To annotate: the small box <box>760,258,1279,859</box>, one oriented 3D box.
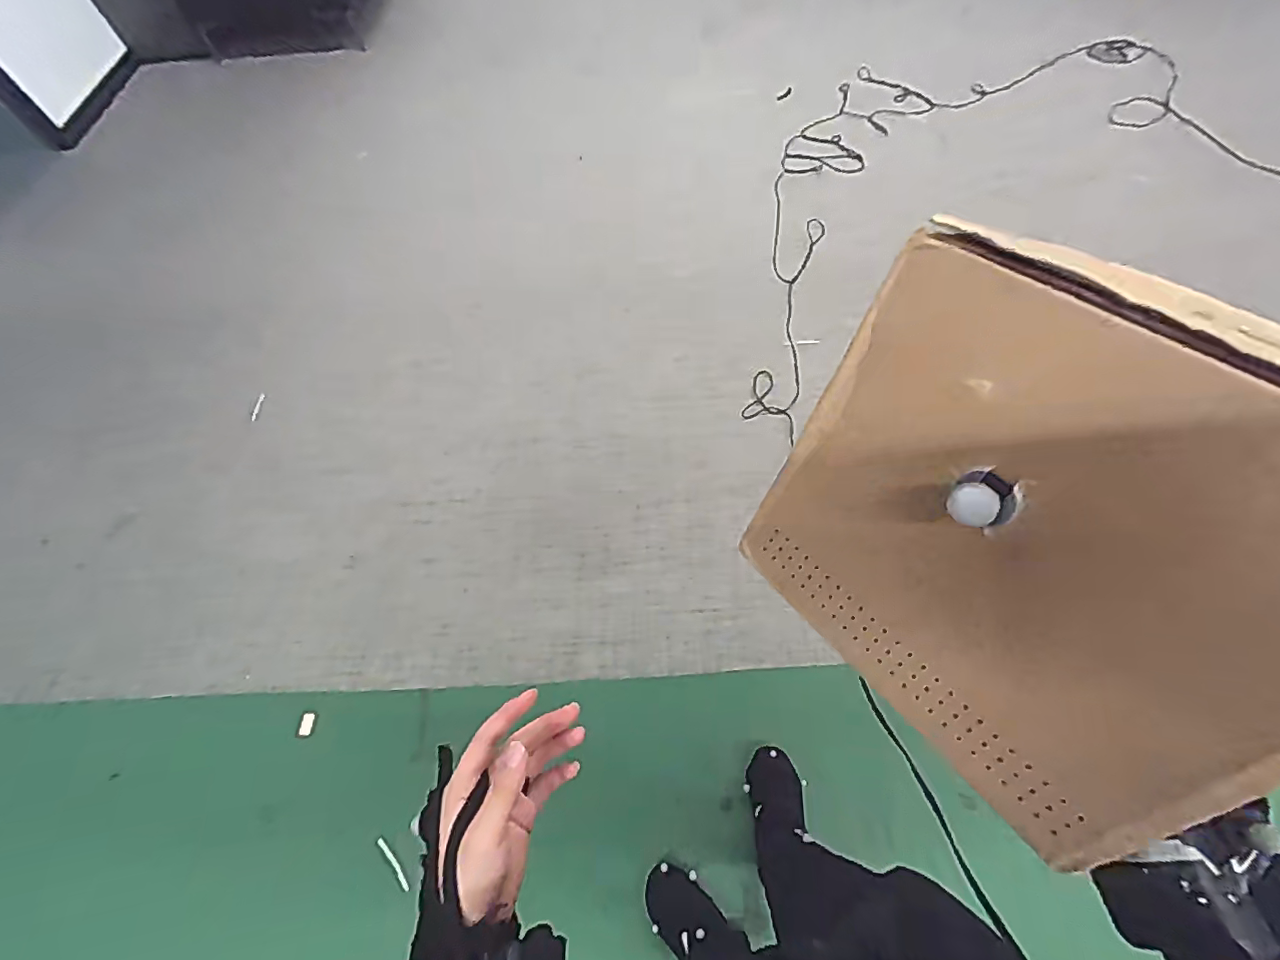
[{"bbox_3d":[0.186,0.017,0.245,0.168,0.176,0.179,-18,49,-38],"label":"small box"}]
